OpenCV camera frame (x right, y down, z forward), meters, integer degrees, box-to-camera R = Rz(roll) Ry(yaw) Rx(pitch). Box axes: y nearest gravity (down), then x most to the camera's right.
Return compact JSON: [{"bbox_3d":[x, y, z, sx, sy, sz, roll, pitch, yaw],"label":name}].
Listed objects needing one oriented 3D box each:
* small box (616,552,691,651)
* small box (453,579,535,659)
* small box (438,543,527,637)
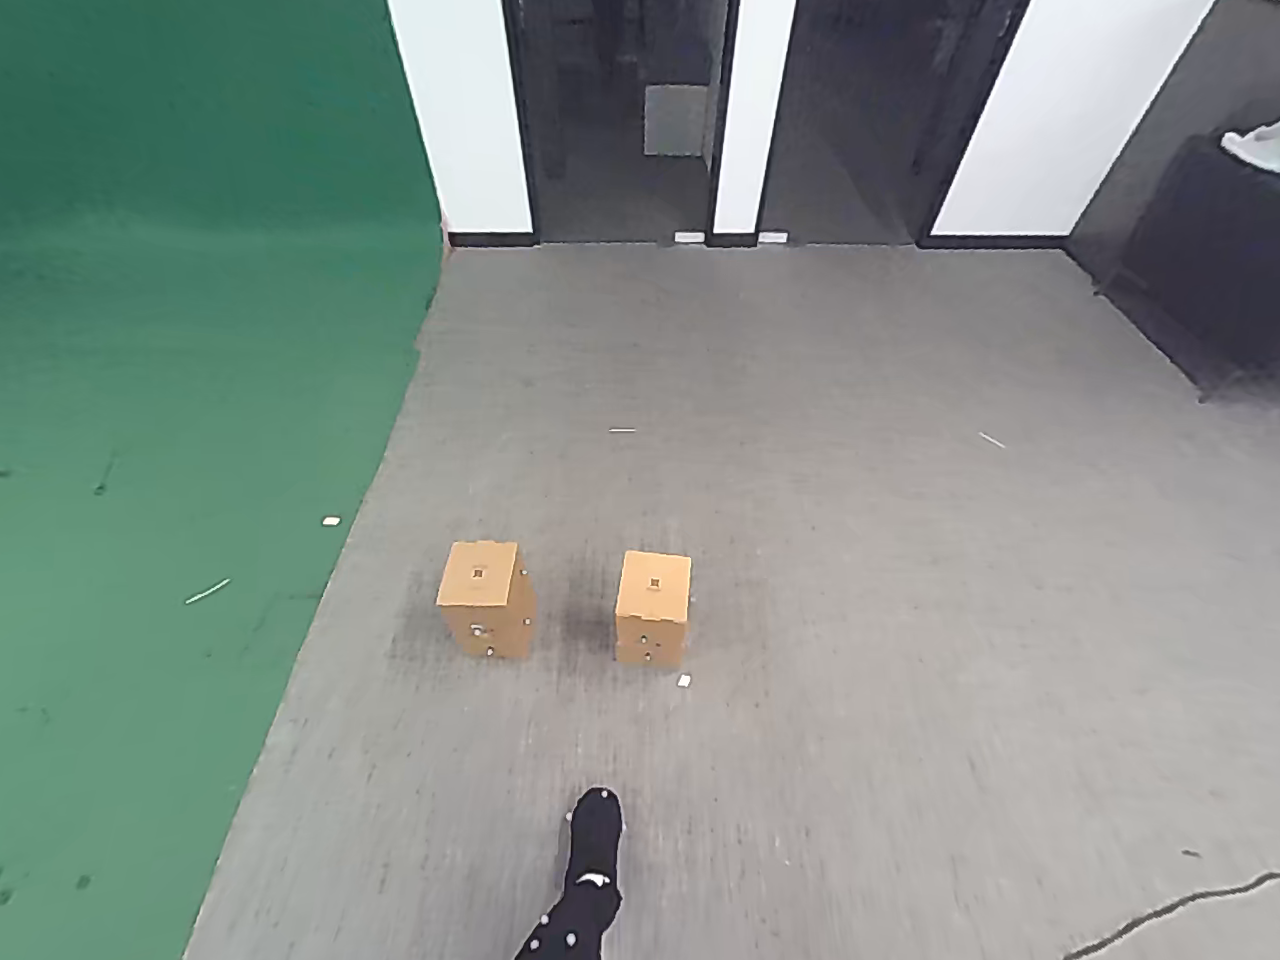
[{"bbox_3d":[0.032,0.304,1.348,0.168,0.176,0.179,6,52,4],"label":"small box"},{"bbox_3d":[-0.391,0.379,1.488,0.168,0.176,0.179,3,52,1],"label":"small box"},{"bbox_3d":[-0.386,0.277,1.361,0.168,0.176,0.179,0,52,0],"label":"small box"}]
